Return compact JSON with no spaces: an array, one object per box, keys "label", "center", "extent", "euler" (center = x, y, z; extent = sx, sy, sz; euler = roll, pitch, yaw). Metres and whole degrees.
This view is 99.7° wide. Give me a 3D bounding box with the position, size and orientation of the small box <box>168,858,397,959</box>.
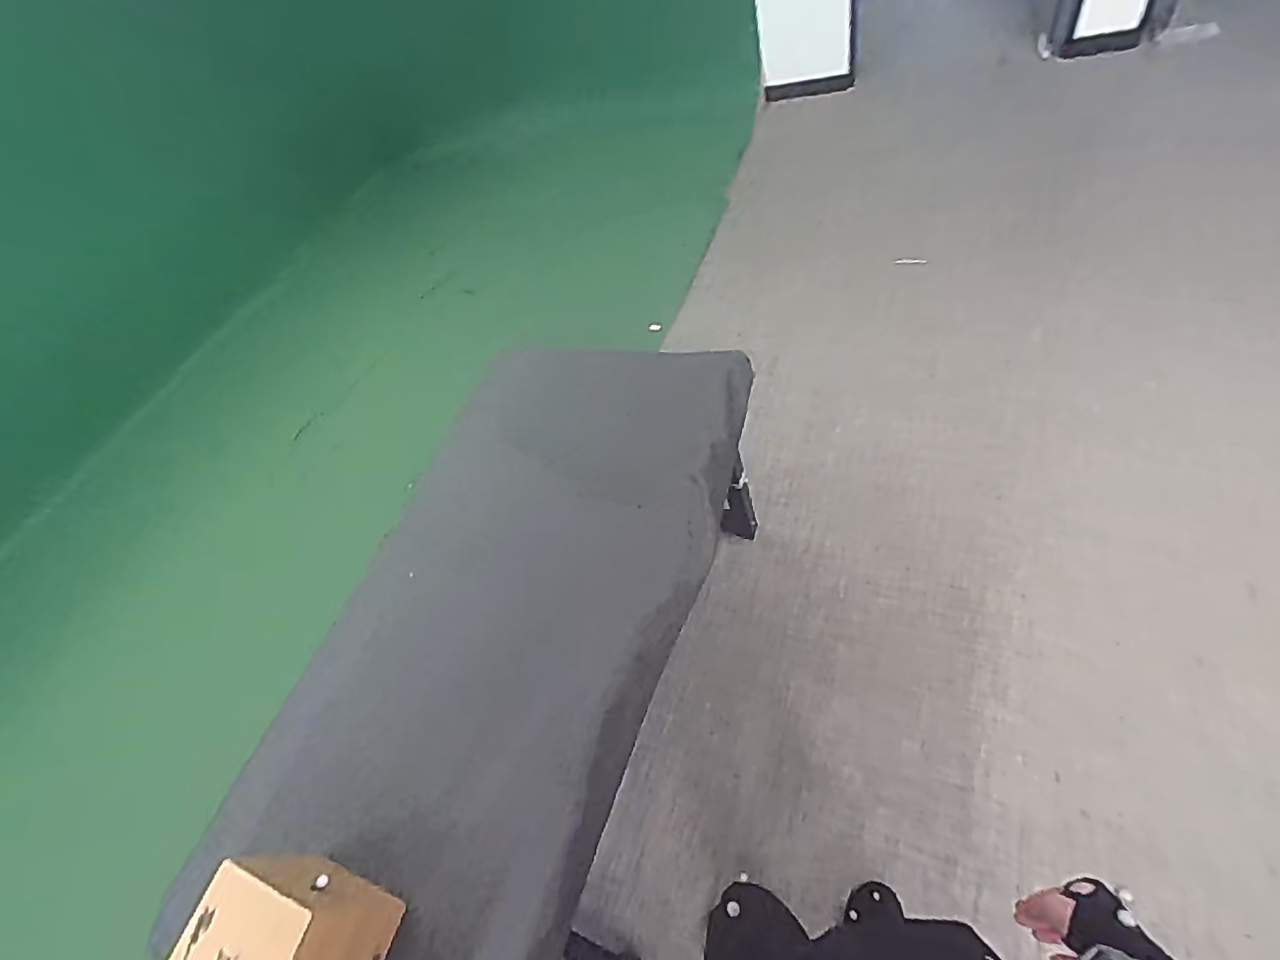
[{"label":"small box","center":[-0.450,0.598,0.682],"extent":[0.179,0.176,0.168],"euler":[7,60,22]}]
